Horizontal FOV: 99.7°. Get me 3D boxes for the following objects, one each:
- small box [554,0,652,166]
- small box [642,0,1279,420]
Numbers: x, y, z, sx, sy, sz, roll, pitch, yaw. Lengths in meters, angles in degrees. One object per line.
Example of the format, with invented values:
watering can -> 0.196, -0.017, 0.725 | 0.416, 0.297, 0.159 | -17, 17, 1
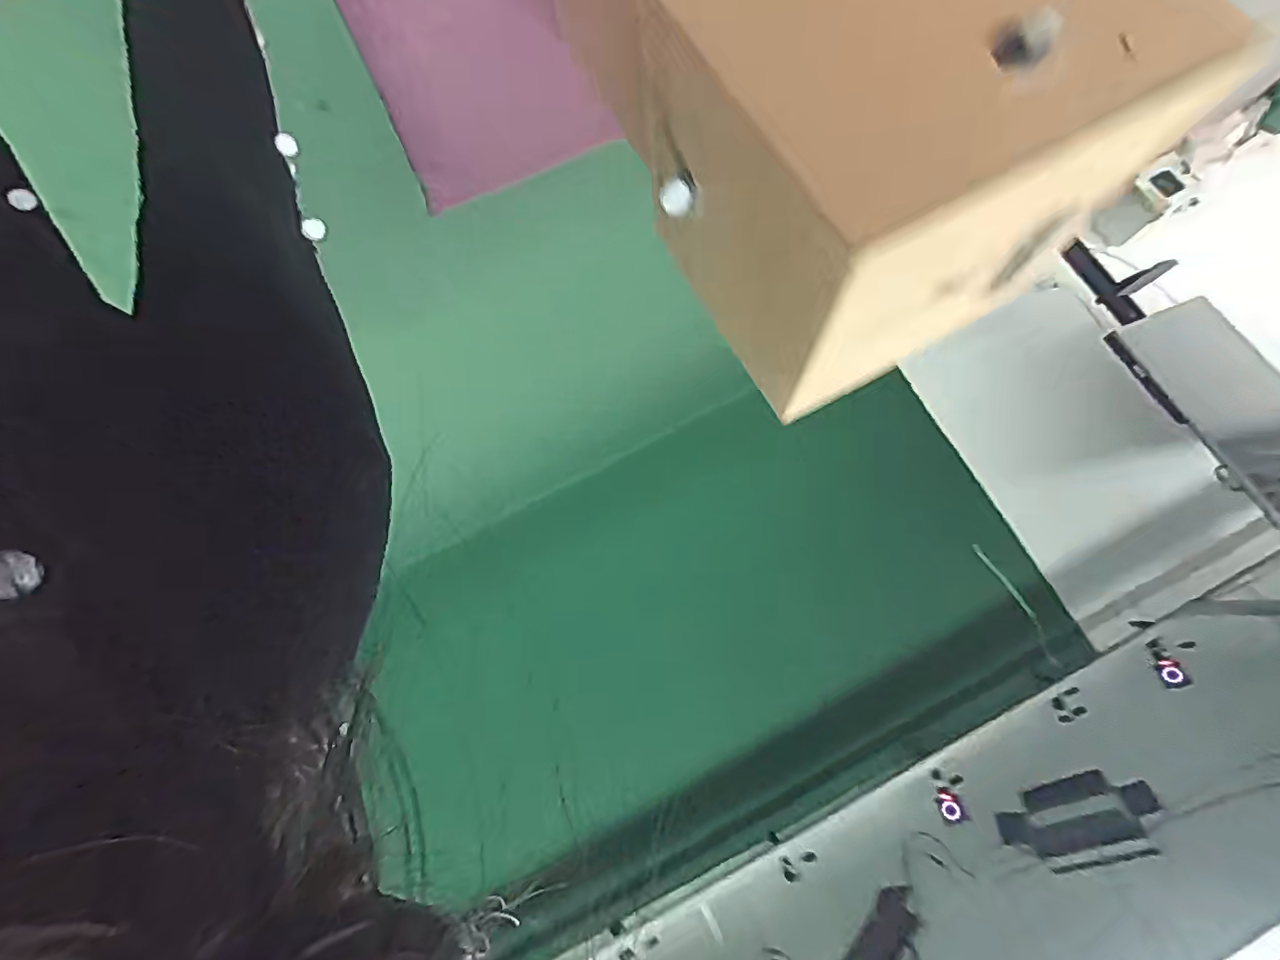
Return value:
small box -> 0.053, -0.315, 0.304 | 0.179, 0.176, 0.168 | -28, 165, -2
small box -> 0.120, -0.165, 0.280 | 0.179, 0.176, 0.168 | -28, 165, -2
